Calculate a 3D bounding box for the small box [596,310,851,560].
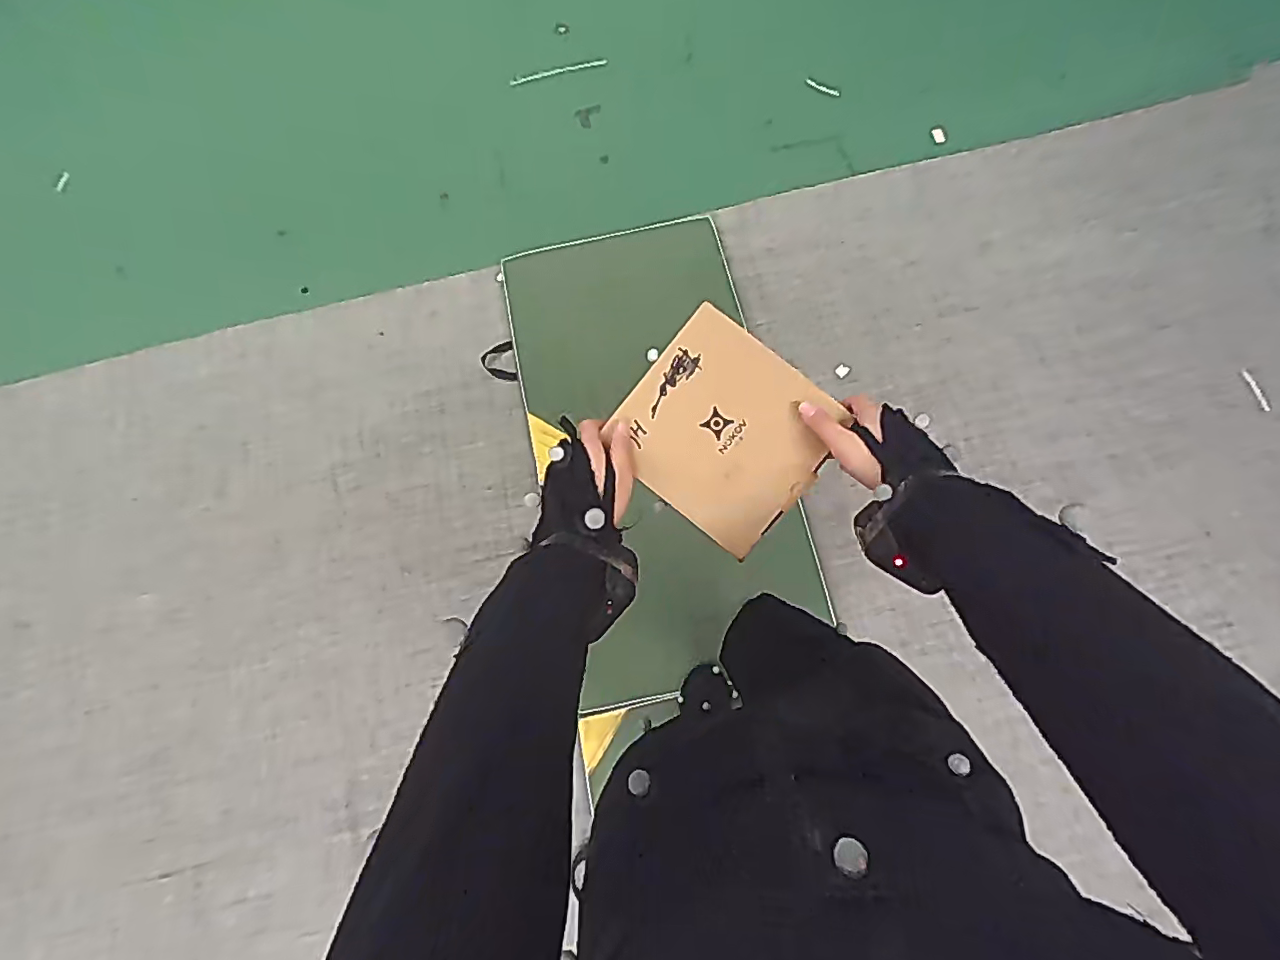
[{"bbox_3d":[0.079,-0.041,0.573,0.179,0.176,0.168,39,90,3],"label":"small box"}]
